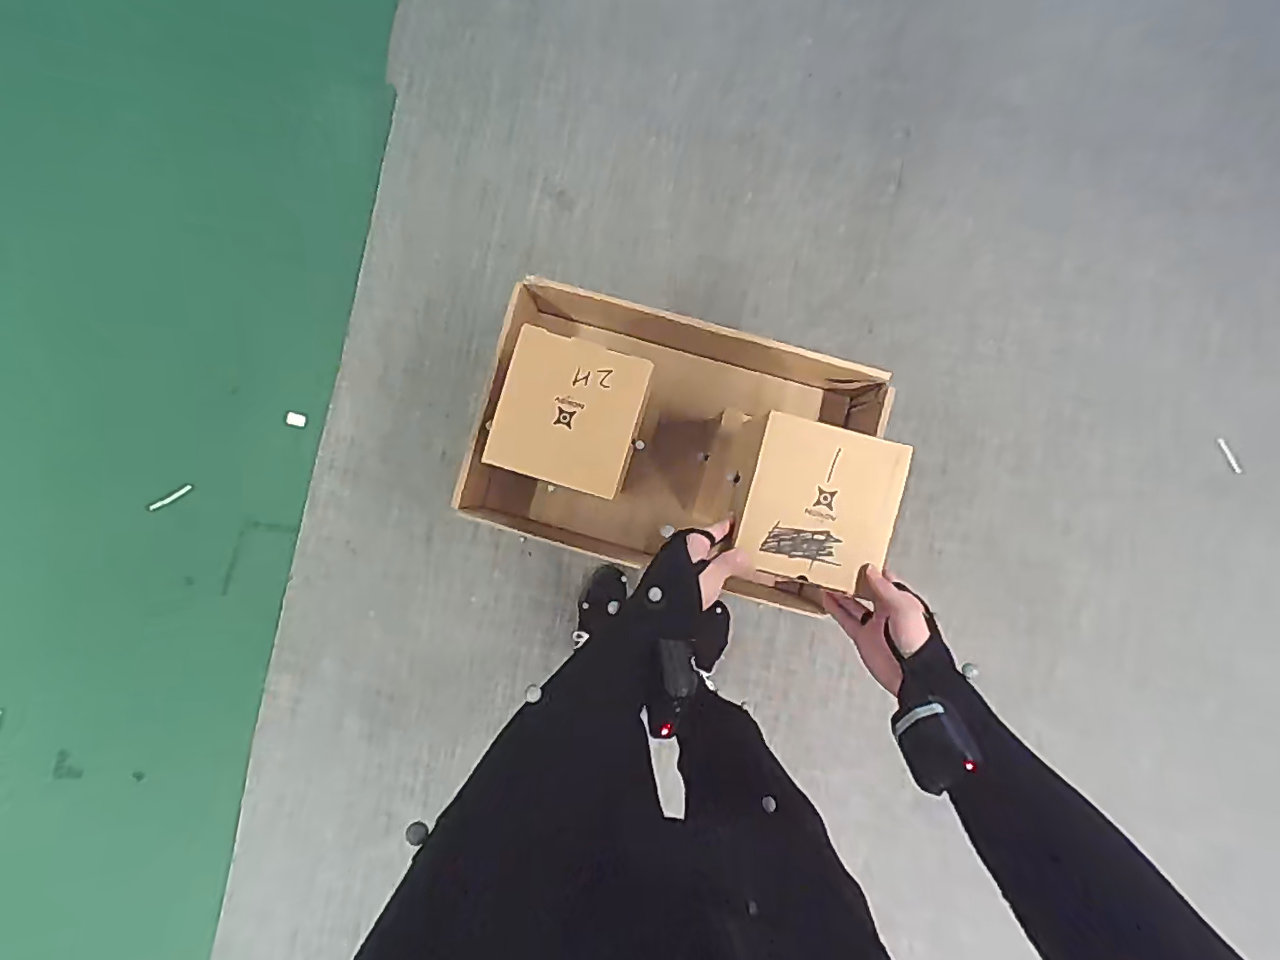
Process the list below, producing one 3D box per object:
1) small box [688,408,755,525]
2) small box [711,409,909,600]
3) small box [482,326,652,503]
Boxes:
[{"bbox_3d":[0.181,-0.001,0.886,0.168,0.176,0.179,16,89,1],"label":"small box"},{"bbox_3d":[0.192,0.026,0.667,0.168,0.176,0.179,15,90,-2],"label":"small box"},{"bbox_3d":[-0.087,-0.078,0.724,0.168,0.176,0.179,17,89,-1],"label":"small box"}]
